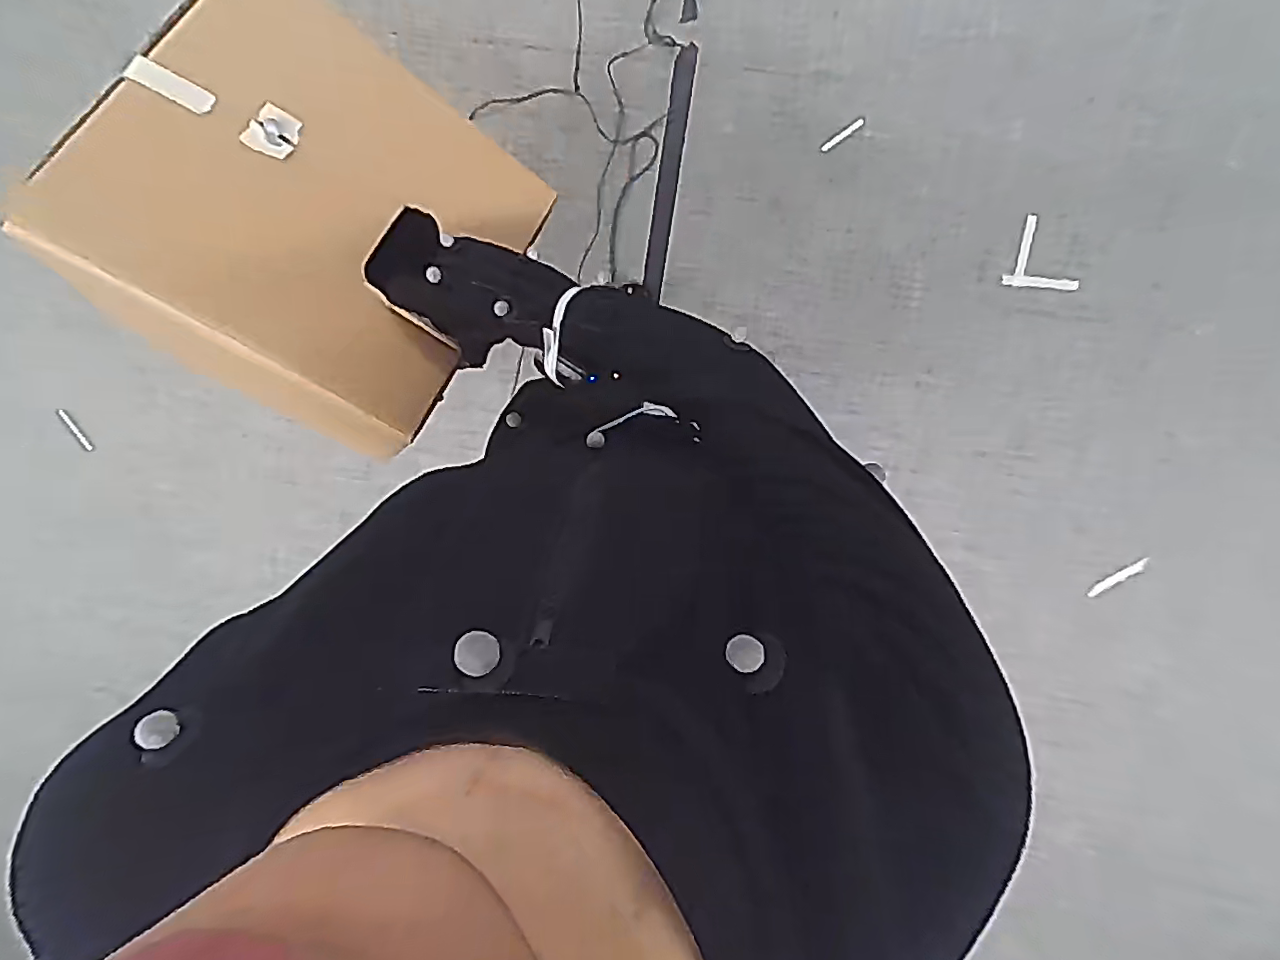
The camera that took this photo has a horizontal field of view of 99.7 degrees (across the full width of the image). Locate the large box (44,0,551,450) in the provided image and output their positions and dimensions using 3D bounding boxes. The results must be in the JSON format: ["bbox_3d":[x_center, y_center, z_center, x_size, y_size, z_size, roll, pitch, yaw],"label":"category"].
[{"bbox_3d":[-0.367,-0.250,0.669,0.320,0.408,0.320,33,75,-25],"label":"large box"}]
